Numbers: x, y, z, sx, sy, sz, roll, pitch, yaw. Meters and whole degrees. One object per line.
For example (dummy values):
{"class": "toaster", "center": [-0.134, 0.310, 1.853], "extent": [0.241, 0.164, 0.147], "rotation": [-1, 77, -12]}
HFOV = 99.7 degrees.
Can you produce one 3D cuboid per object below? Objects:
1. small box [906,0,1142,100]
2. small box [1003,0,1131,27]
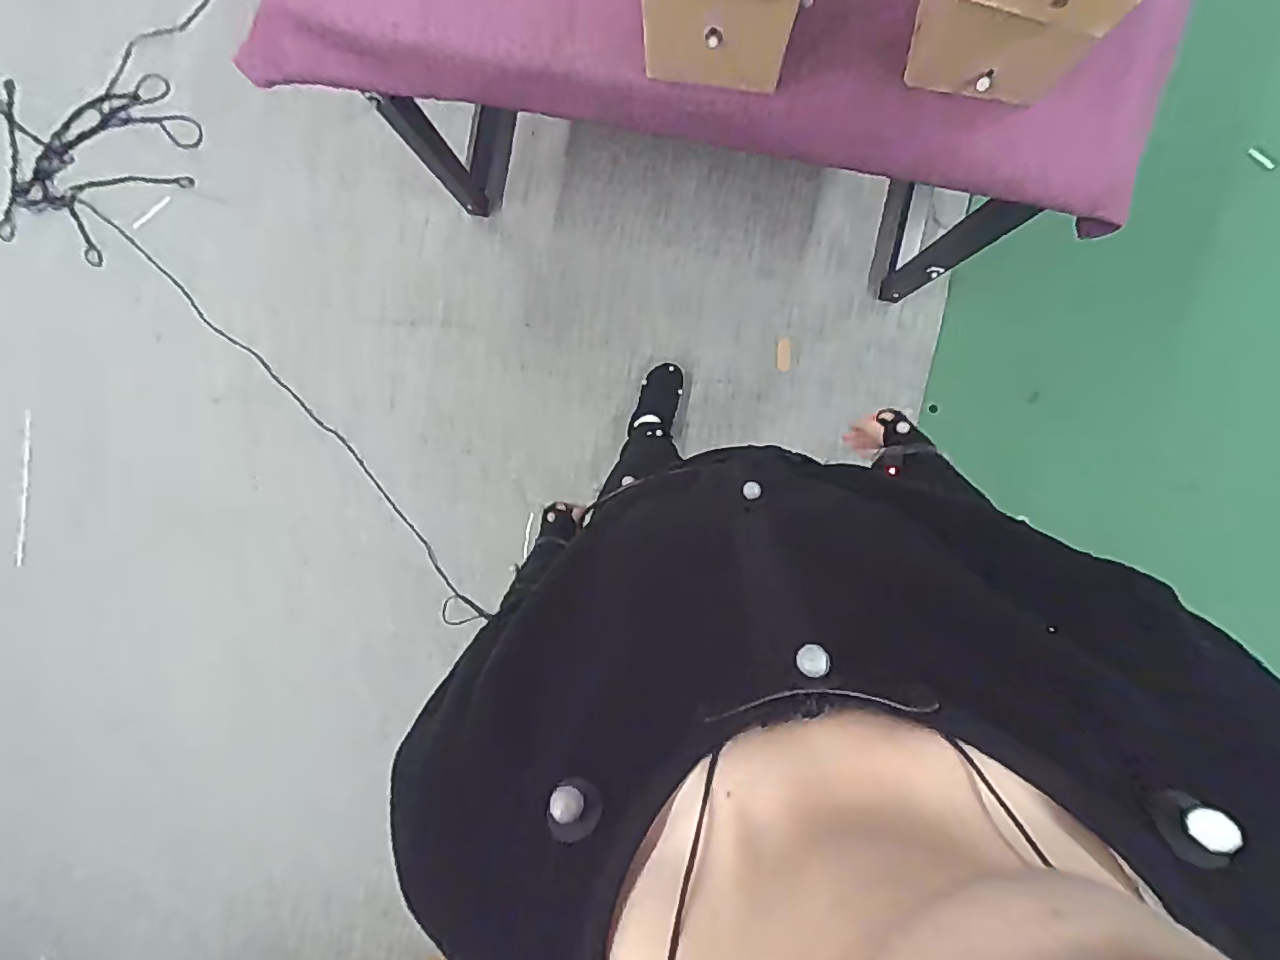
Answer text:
{"class": "small box", "center": [0.442, -0.579, 0.622], "extent": [0.179, 0.176, 0.168], "rotation": [11, 93, 3]}
{"class": "small box", "center": [0.413, -0.555, 0.461], "extent": [0.168, 0.176, 0.179], "rotation": [19, 95, 3]}
